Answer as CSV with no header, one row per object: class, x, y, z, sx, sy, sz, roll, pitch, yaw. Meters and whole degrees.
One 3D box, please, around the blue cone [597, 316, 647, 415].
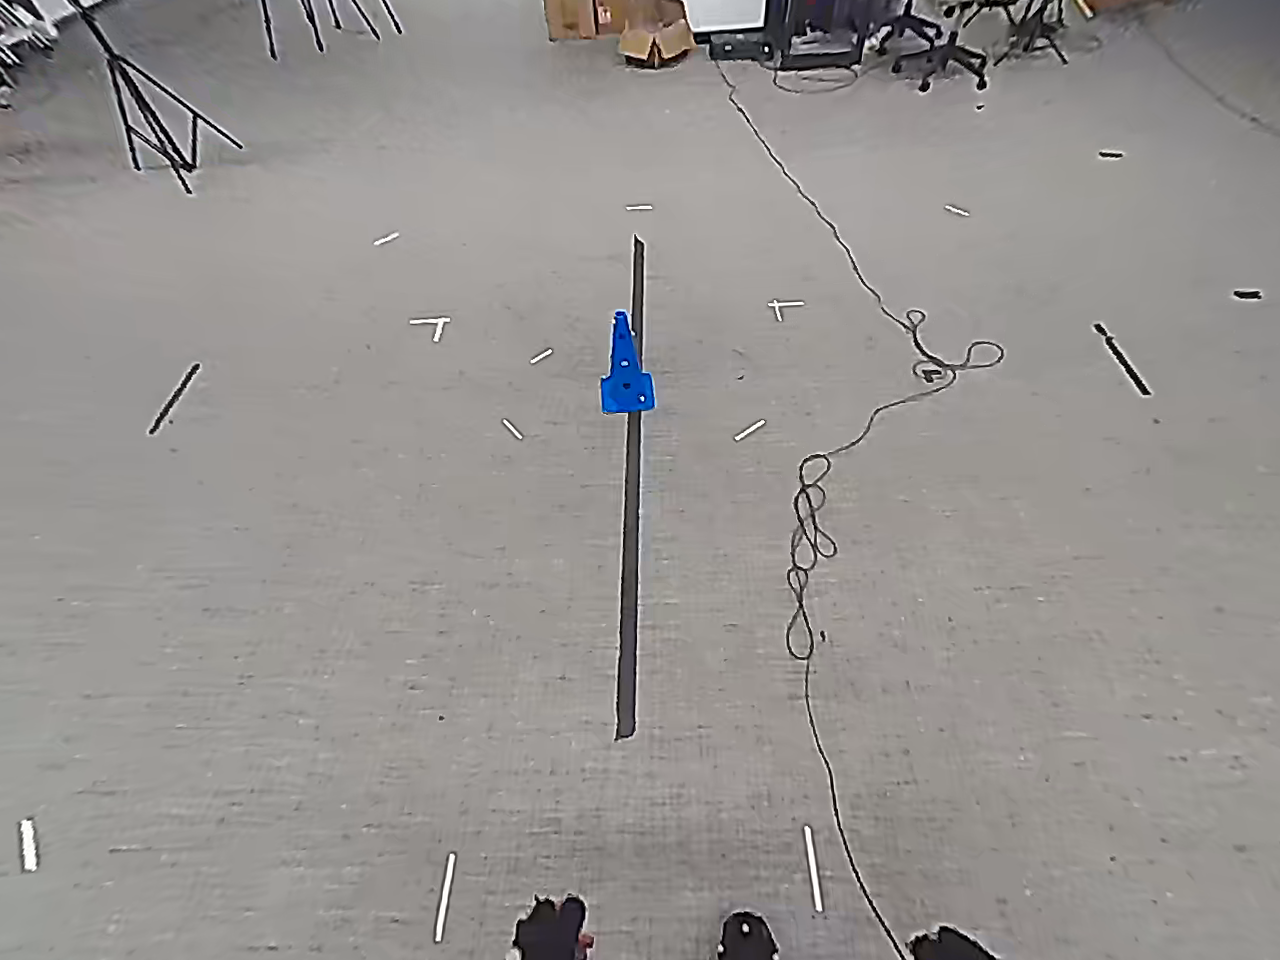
blue cone,-0.080,-0.422,1.930,0.192,0.380,0.193,-5,53,1
